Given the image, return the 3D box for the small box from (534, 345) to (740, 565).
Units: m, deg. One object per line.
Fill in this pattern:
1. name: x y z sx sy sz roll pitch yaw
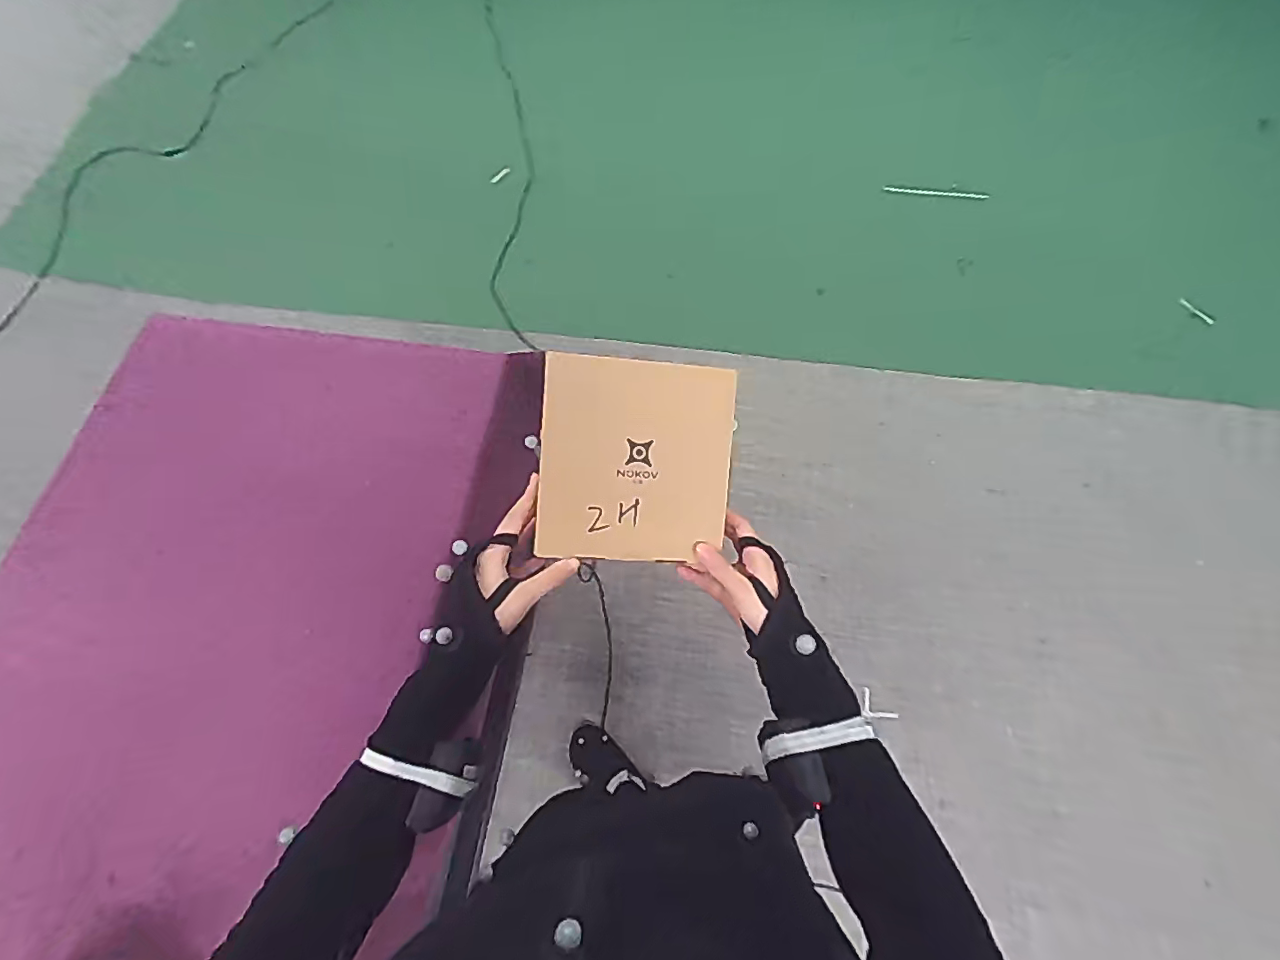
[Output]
1. small box: -0.011 -0.023 0.539 0.168 0.176 0.179 5 93 -7
